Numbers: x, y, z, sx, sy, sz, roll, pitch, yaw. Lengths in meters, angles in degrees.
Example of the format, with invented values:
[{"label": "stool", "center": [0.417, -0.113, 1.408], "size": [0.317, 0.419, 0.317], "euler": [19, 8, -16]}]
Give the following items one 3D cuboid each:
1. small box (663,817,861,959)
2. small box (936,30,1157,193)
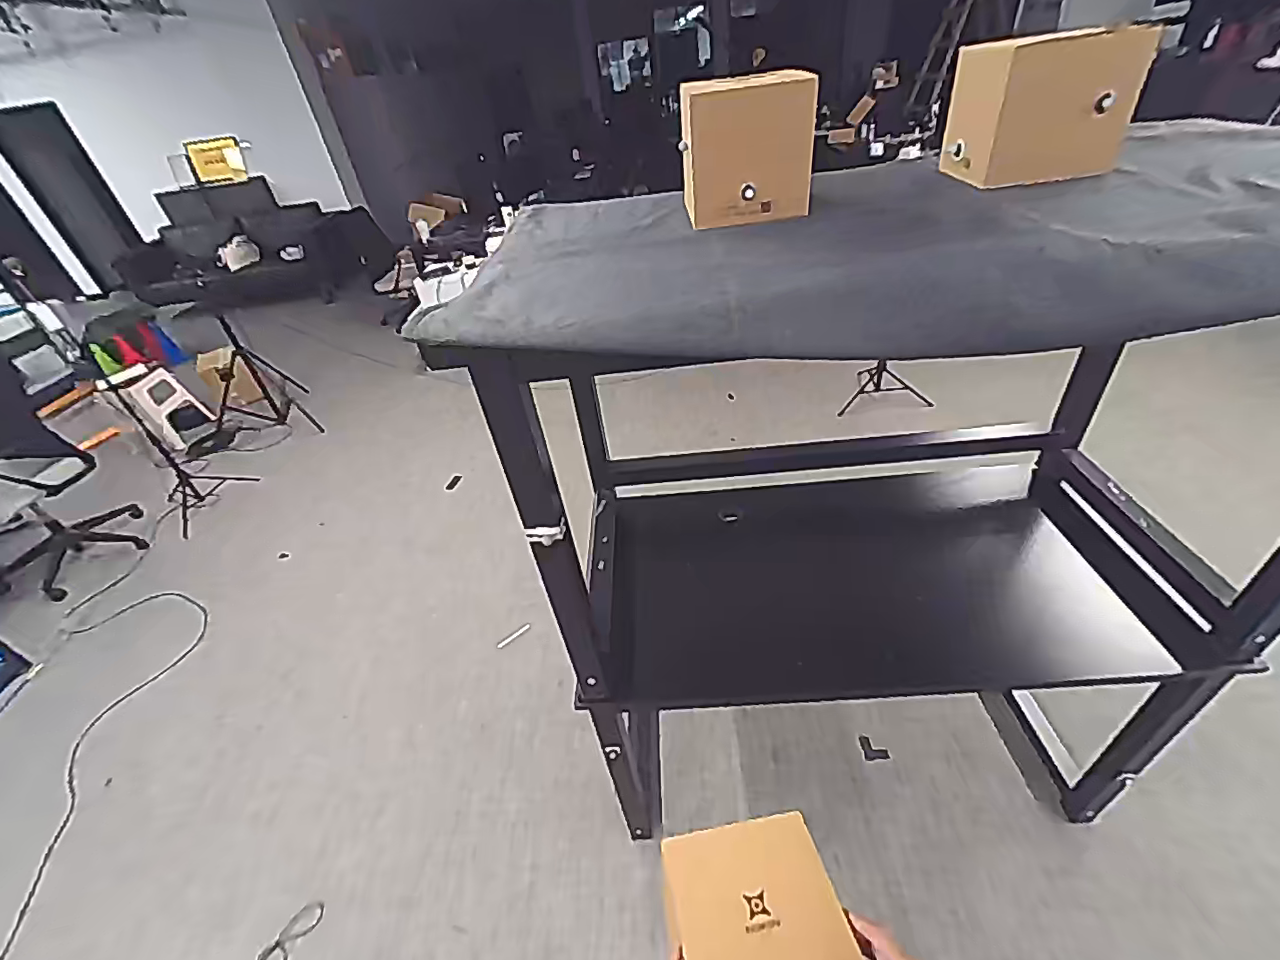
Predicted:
[{"label": "small box", "center": [0.119, 0.504, 0.569], "size": [0.168, 0.176, 0.179], "euler": [-7, 26, -7]}, {"label": "small box", "center": [0.563, -0.530, 0.782], "size": [0.179, 0.176, 0.168], "euler": [-4, 37, 6]}]
